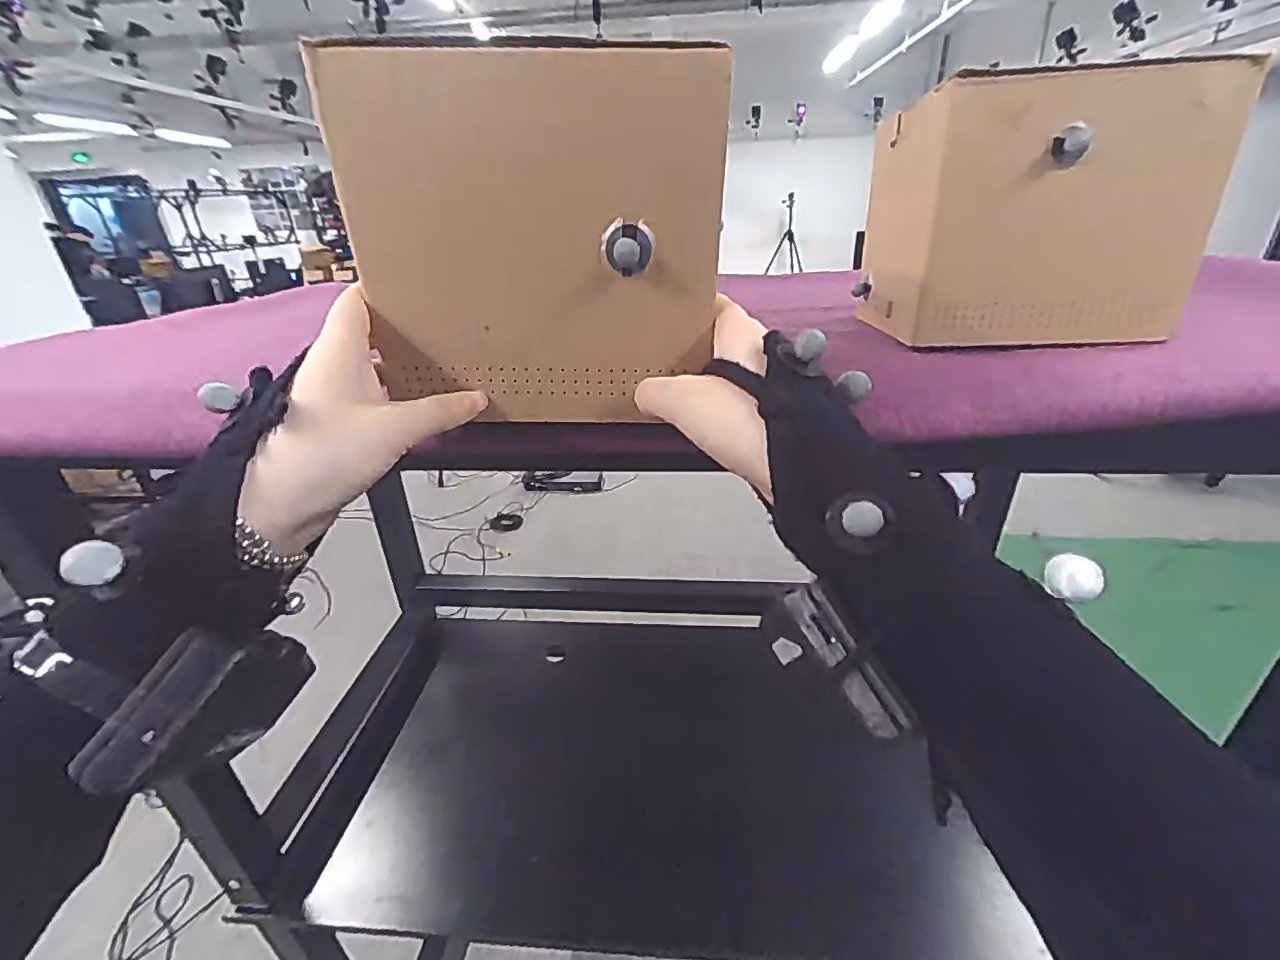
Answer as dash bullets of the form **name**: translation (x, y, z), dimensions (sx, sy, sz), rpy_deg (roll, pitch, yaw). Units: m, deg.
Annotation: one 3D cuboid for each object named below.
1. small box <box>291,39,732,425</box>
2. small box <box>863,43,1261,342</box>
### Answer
- **small box**: translation (-0.050, -0.139, 0.319), dimensions (0.179, 0.176, 0.168), rpy_deg (-1, 31, 0)
- **small box**: translation (0.285, -0.205, 0.423), dimensions (0.179, 0.176, 0.168), rpy_deg (1, 25, 6)
